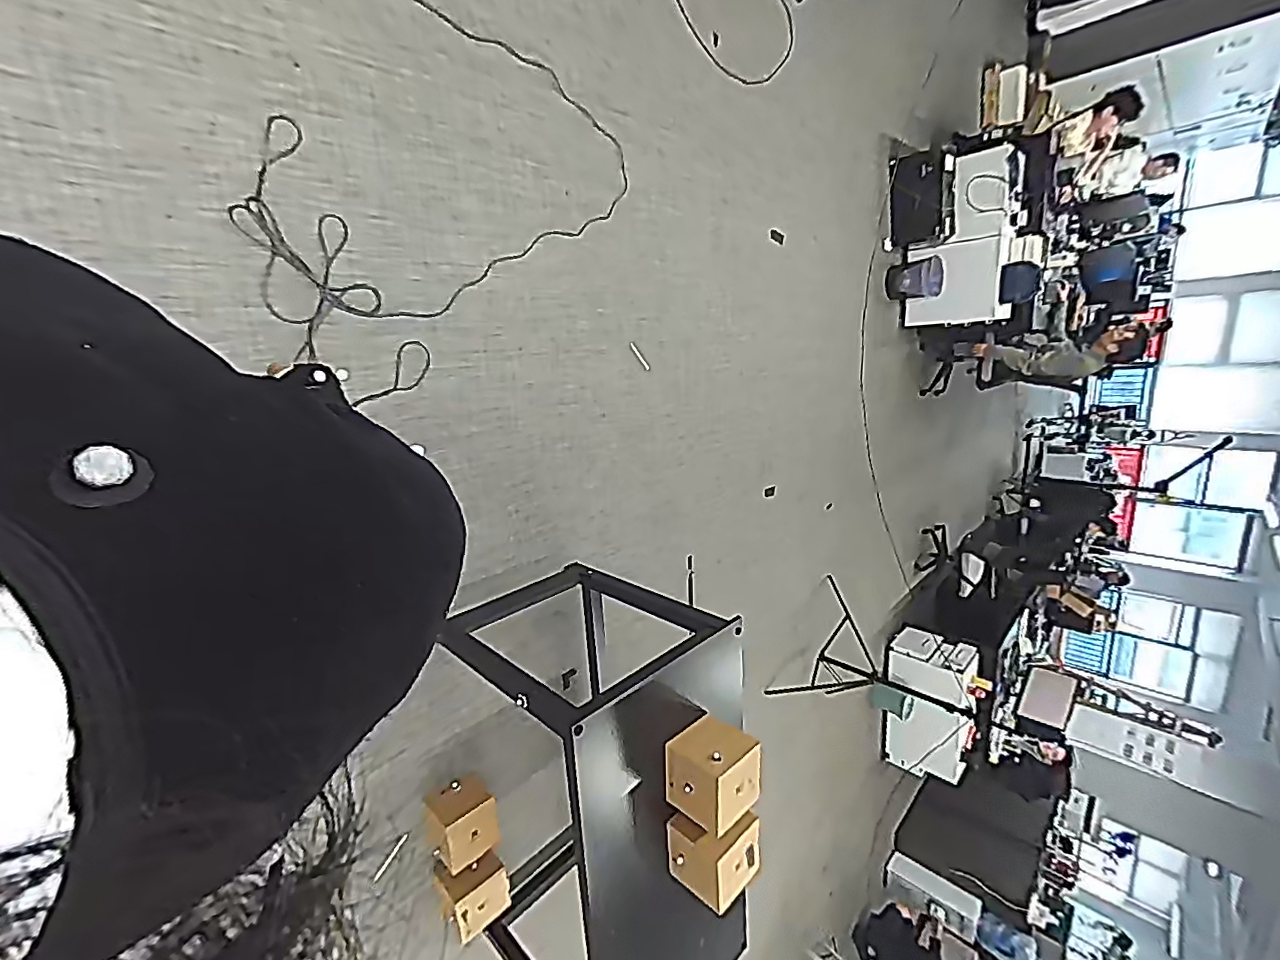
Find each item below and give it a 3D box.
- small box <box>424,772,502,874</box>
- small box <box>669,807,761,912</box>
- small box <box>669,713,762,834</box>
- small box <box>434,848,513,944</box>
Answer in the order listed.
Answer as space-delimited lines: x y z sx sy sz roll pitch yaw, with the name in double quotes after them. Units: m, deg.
-0.559 1.072 1.705 0.168 0.176 0.179 -18 108 -43 "small box"
0.196 0.940 1.399 0.179 0.176 0.168 -17 109 -42 "small box"
0.185 0.721 1.349 0.179 0.176 0.168 -13 106 -44 "small box"
-0.543 1.328 1.762 0.179 0.176 0.168 -18 109 -43 "small box"
